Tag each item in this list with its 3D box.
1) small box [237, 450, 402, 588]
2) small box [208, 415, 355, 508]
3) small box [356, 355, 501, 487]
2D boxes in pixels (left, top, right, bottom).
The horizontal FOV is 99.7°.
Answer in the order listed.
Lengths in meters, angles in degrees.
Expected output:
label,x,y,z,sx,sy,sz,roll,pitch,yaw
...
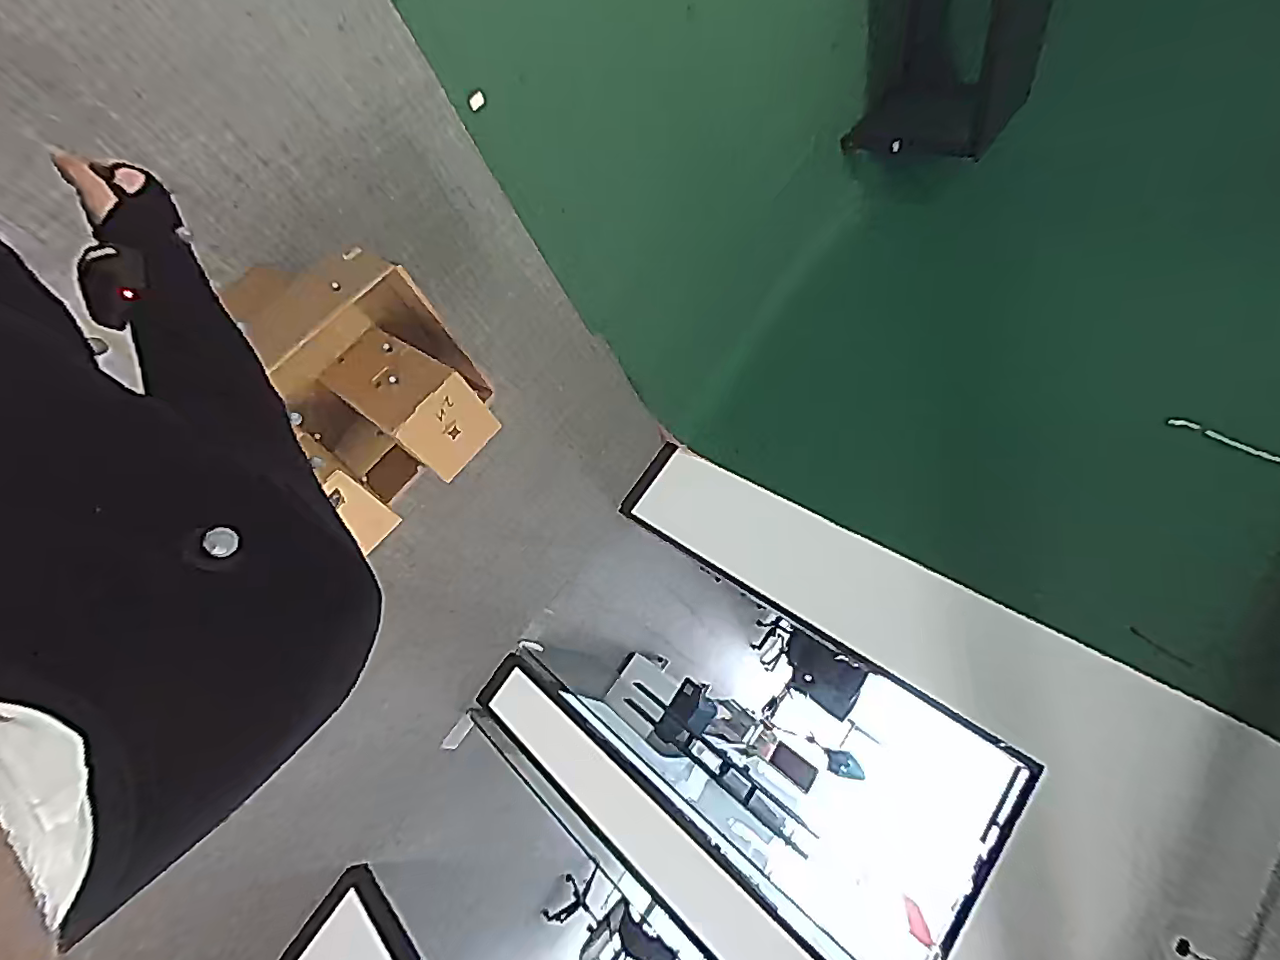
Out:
label,x,y,z,sx,sy,sz,roll,pitch,yaw
small box,-0.593,0.064,1.003,0.168,0.176,0.179,-49,145,-17
small box,-0.713,-0.004,1.093,0.168,0.176,0.179,-50,144,-16
small box,-0.422,-0.123,1.088,0.168,0.176,0.179,-51,146,-15
